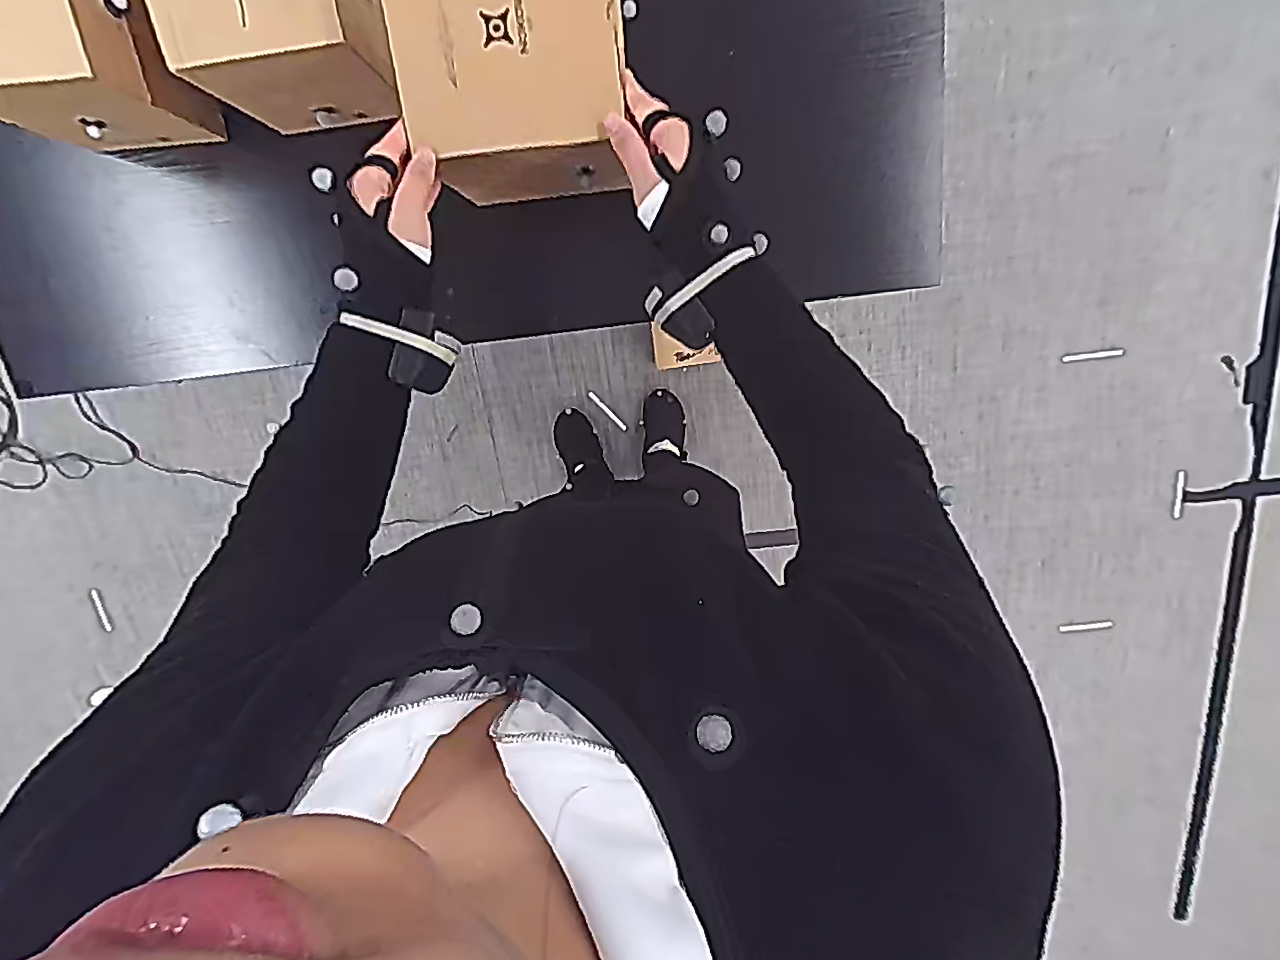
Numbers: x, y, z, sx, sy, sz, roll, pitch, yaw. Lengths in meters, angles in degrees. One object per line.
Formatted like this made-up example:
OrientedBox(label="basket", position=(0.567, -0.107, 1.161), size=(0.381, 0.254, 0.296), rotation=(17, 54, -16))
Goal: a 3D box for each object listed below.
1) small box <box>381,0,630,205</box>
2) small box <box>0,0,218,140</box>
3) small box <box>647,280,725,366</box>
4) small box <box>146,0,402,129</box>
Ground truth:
OrientedBox(label="small box", position=(-0.102, -0.359, 0.482), size=(0.179, 0.176, 0.168), rotation=(-5, 105, 4))
OrientedBox(label="small box", position=(-0.573, -0.461, 0.538), size=(0.168, 0.176, 0.179), rotation=(-4, 105, 0))
OrientedBox(label="small box", position=(0.108, -0.375, 1.311), size=(0.168, 0.176, 0.179), rotation=(-7, 104, 3))
OrientedBox(label="small box", position=(-0.349, -0.482, 0.532), size=(0.168, 0.176, 0.179), rotation=(-7, 106, 2))
